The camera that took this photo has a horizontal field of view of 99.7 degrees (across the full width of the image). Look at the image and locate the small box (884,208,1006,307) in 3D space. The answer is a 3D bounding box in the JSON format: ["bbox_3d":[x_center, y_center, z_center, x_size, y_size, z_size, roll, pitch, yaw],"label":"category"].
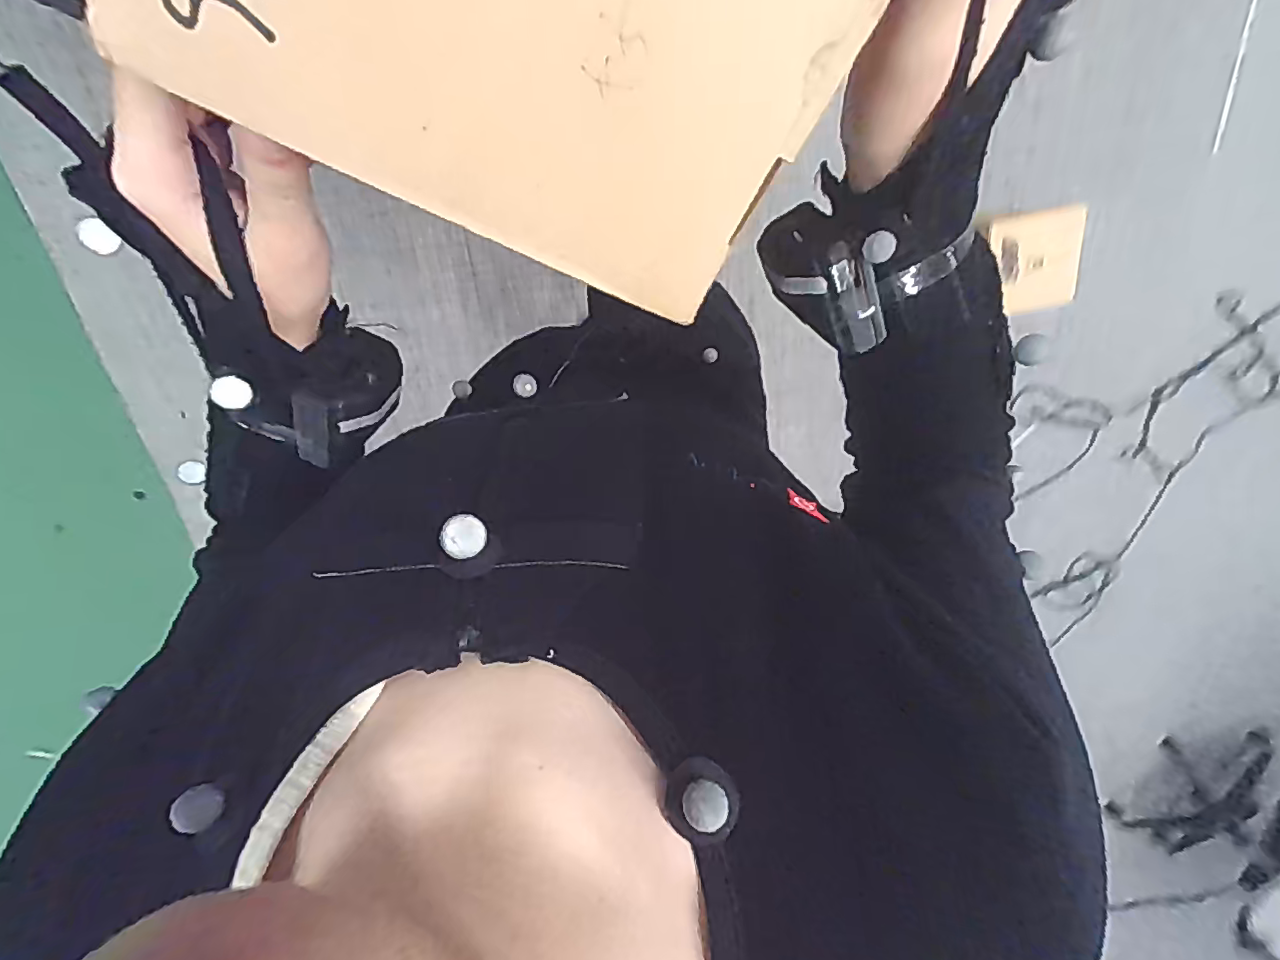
[{"bbox_3d":[0.658,-0.486,1.178,0.179,0.176,0.168,-12,114,0],"label":"small box"}]

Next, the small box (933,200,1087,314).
[{"bbox_3d":[0.687,-0.422,1.029,0.179,0.176,0.168,-12,115,-2],"label":"small box"}]
